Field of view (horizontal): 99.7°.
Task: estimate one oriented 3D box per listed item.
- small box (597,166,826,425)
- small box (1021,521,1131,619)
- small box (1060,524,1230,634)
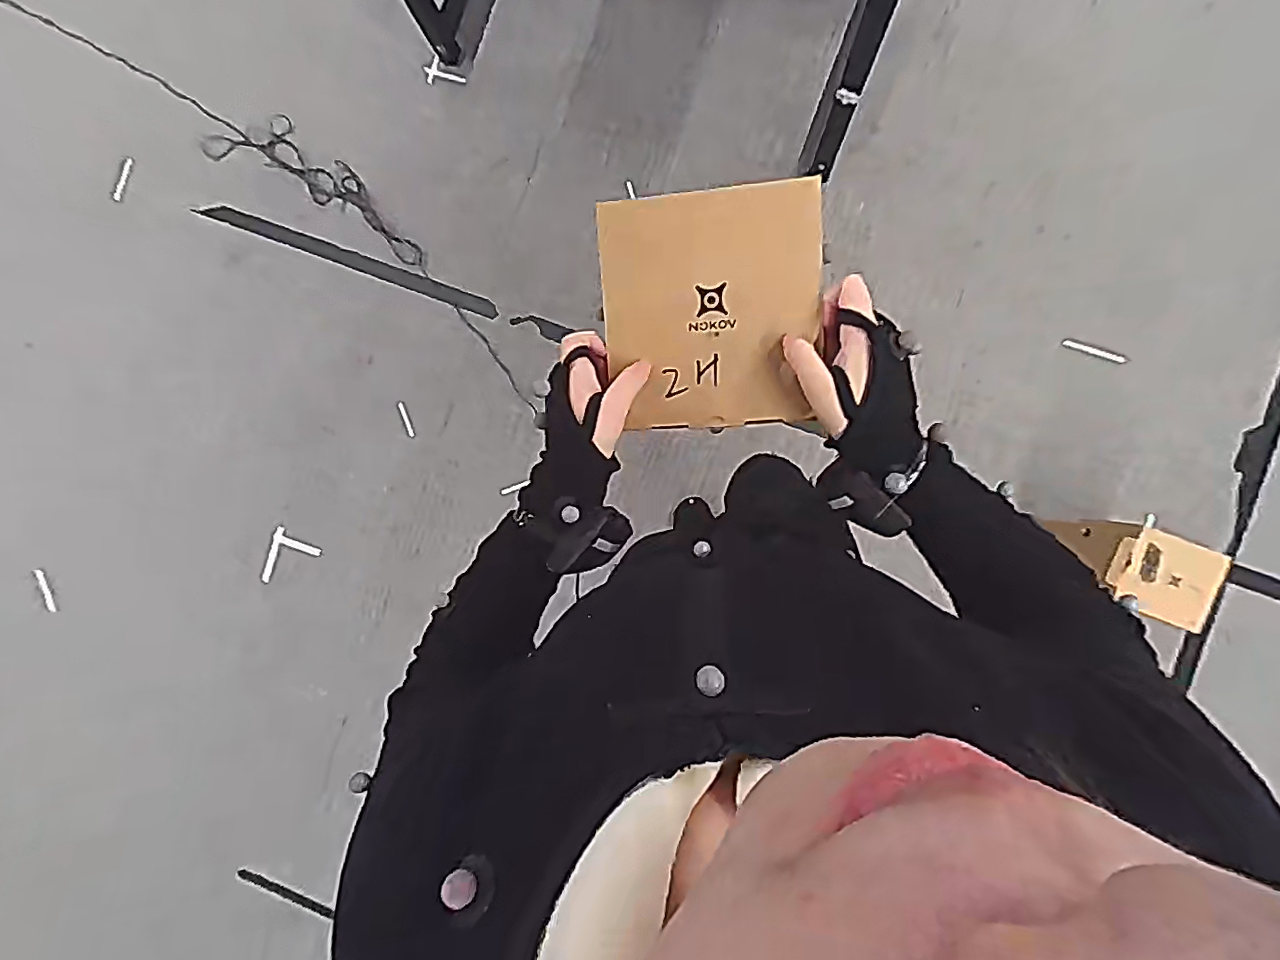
[{"bbox_3d":[0.063,-0.145,0.477,0.168,0.176,0.179,-2,101,9],"label":"small box"},{"bbox_3d":[1.064,0.209,1.303,0.168,0.176,0.179,19,91,6],"label":"small box"},{"bbox_3d":[1.047,0.198,1.140,0.179,0.176,0.168,22,92,5],"label":"small box"}]
